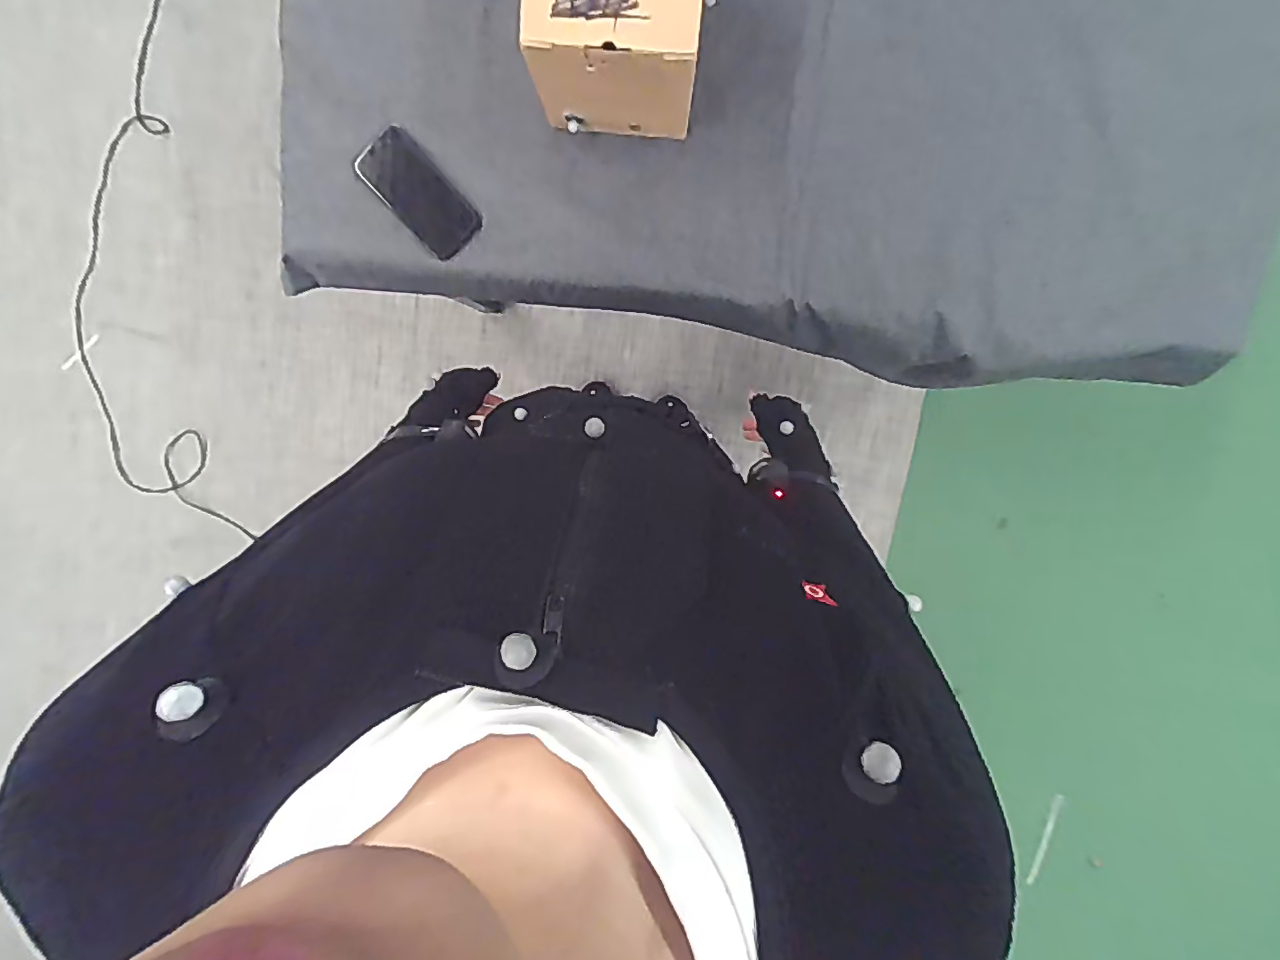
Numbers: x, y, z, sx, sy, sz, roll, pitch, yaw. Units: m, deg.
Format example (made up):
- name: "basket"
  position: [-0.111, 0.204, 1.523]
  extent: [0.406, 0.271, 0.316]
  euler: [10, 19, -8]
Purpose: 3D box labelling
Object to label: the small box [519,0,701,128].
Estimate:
- name: "small box"
  position: [-0.021, -0.496, 0.557]
  extent: [0.168, 0.176, 0.179]
  euler: [5, 99, 0]
